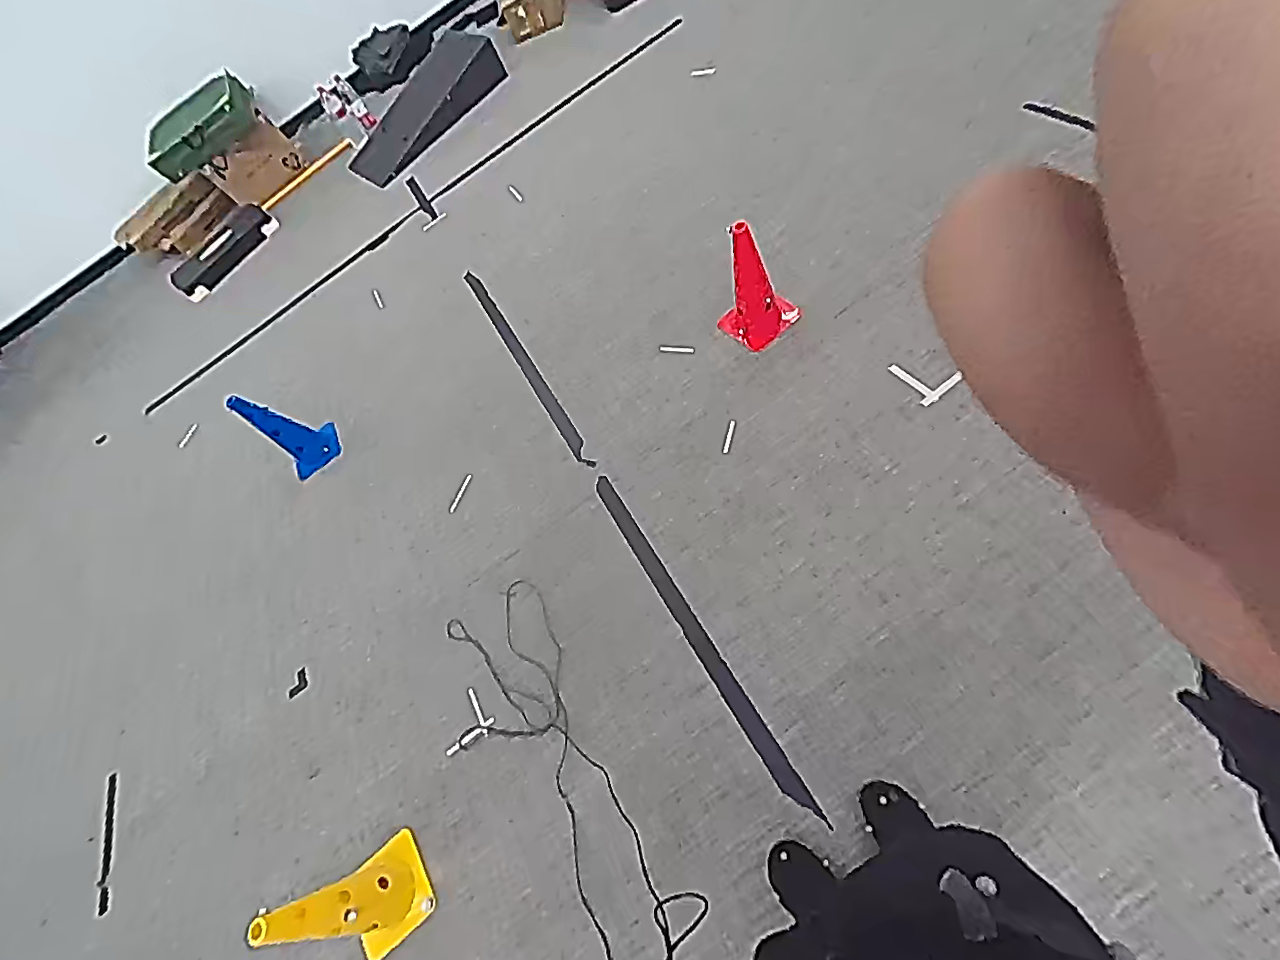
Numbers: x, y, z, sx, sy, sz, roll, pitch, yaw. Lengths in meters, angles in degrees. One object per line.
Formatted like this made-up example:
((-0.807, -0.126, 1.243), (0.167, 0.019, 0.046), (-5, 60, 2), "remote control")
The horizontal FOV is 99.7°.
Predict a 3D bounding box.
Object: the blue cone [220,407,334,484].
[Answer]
((-1.349, -0.161, 1.997), (0.192, 0.380, 0.193), (-36, 56, 1), "blue cone")

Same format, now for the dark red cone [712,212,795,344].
((0.298, -0.595, 1.551), (0.201, 0.394, 0.202), (-43, 57, -3), "dark red cone")
